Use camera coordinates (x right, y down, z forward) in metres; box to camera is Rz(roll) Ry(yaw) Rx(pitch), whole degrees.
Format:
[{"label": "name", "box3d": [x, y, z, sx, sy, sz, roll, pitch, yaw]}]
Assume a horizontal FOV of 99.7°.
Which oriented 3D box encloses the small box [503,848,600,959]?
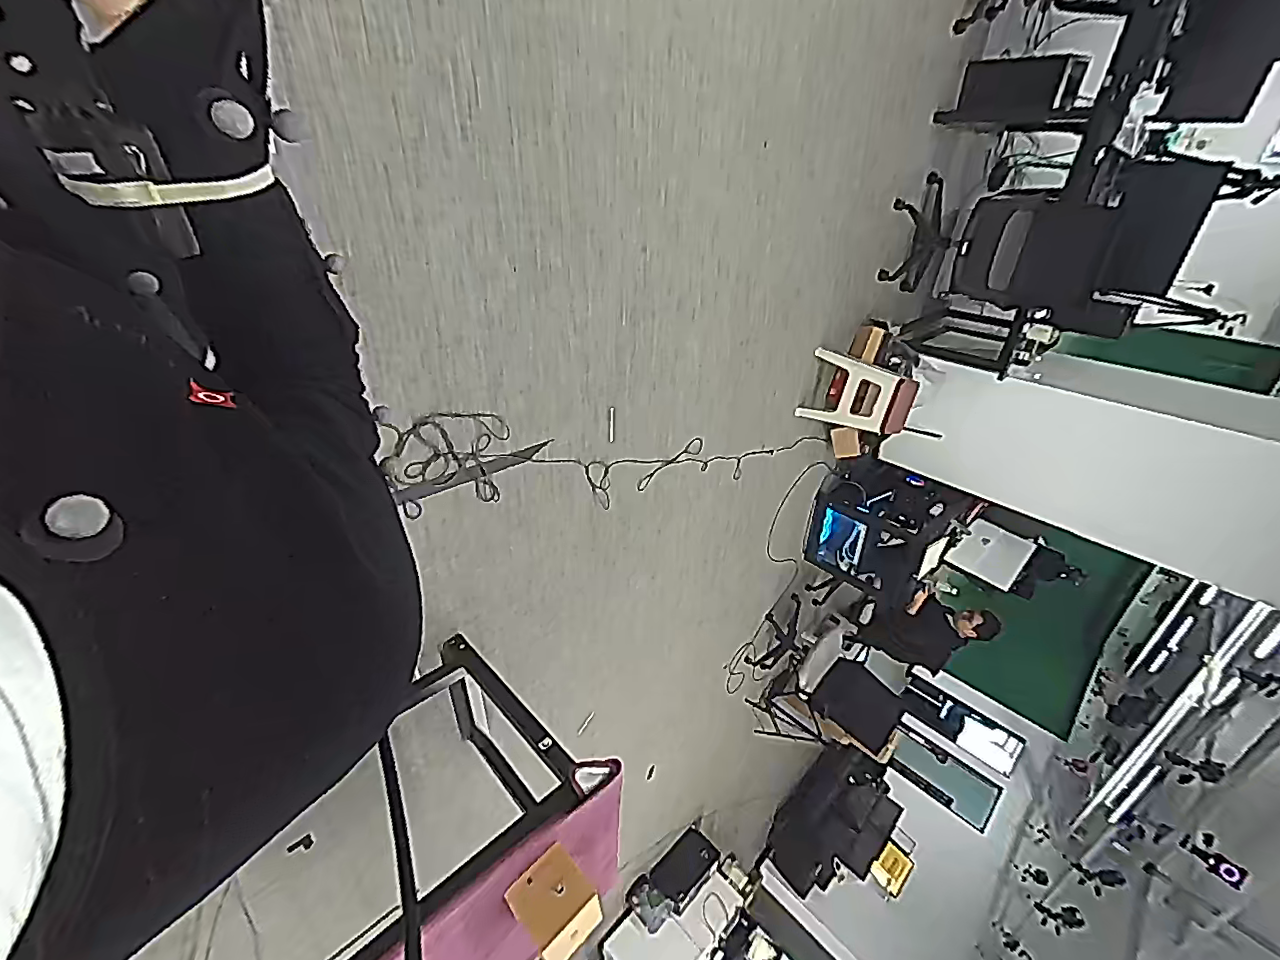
[{"label": "small box", "box3d": [-0.223, 1.074, 1.357, 0.168, 0.176, 0.179, -31, 134, -34]}]
